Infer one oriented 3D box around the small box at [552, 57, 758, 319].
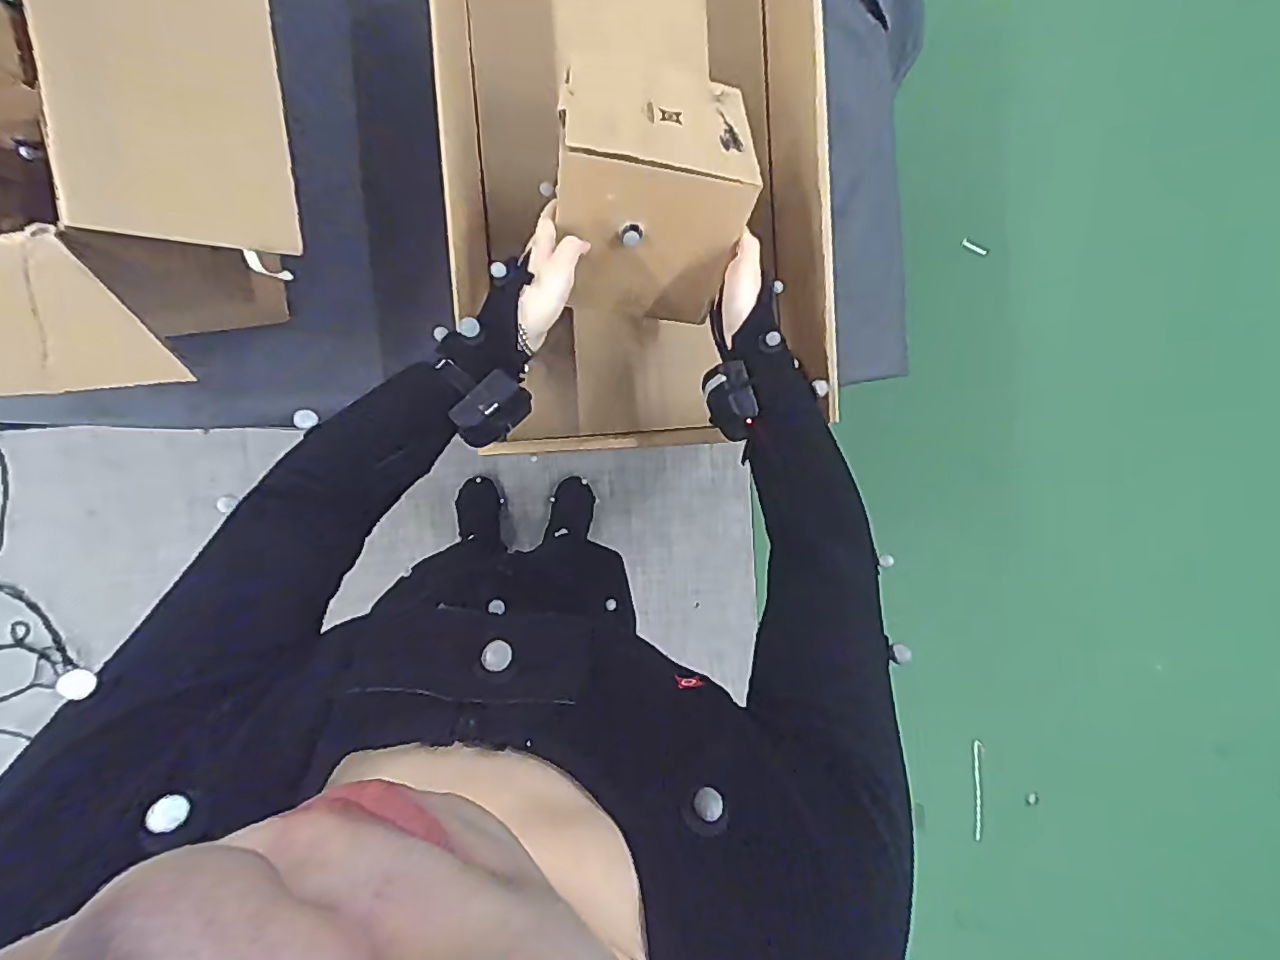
[{"bbox_3d":[0.002,-0.291,0.564,0.179,0.176,0.168,4,61,-11],"label":"small box"}]
